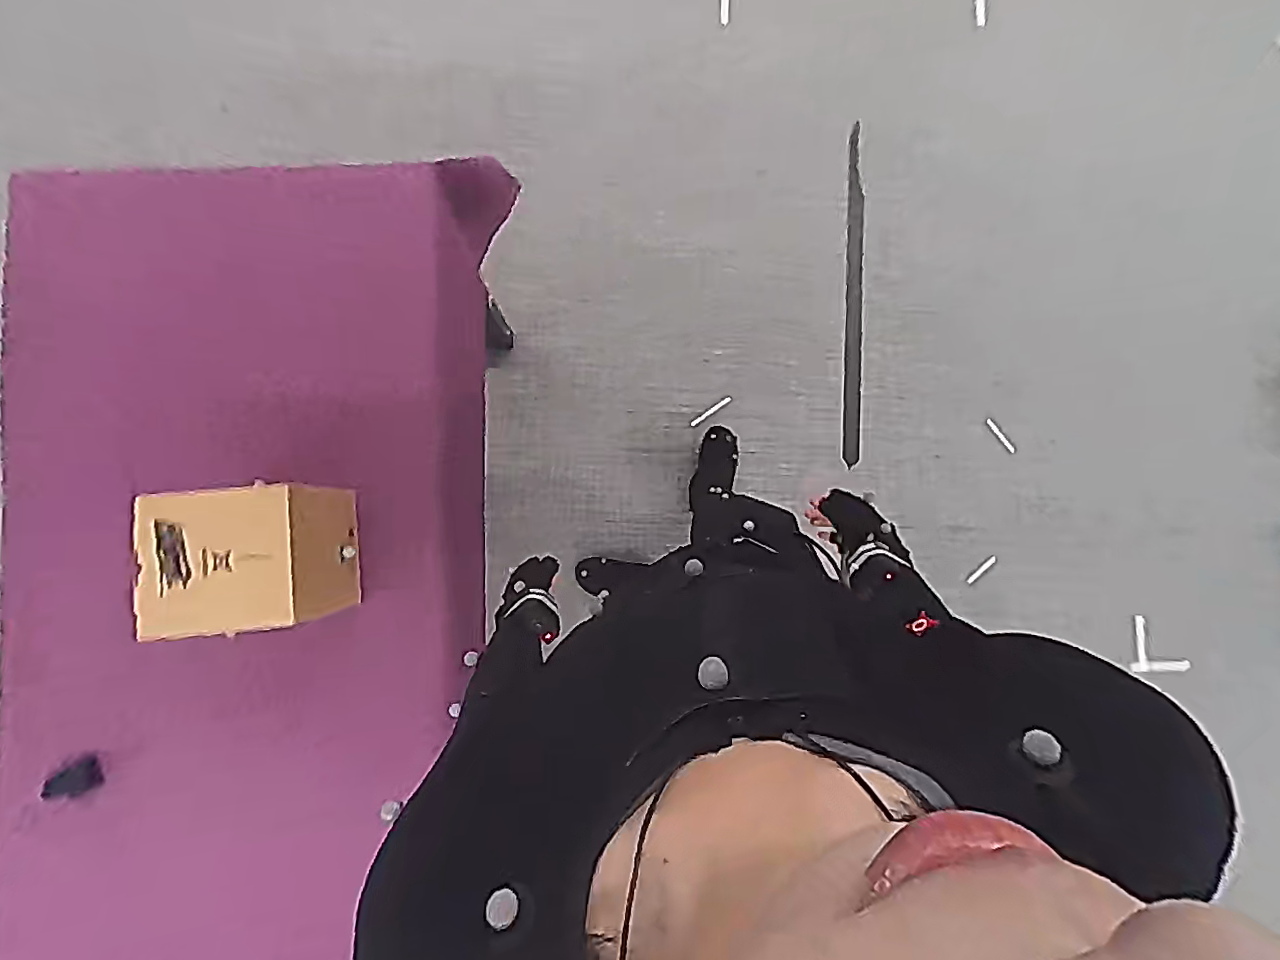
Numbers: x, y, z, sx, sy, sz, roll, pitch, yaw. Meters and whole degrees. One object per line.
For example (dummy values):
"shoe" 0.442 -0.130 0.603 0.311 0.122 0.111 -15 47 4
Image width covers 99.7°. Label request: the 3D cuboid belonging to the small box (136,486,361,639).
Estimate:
"small box" -0.491 0.101 0.700 0.179 0.176 0.168 -5 86 -3
